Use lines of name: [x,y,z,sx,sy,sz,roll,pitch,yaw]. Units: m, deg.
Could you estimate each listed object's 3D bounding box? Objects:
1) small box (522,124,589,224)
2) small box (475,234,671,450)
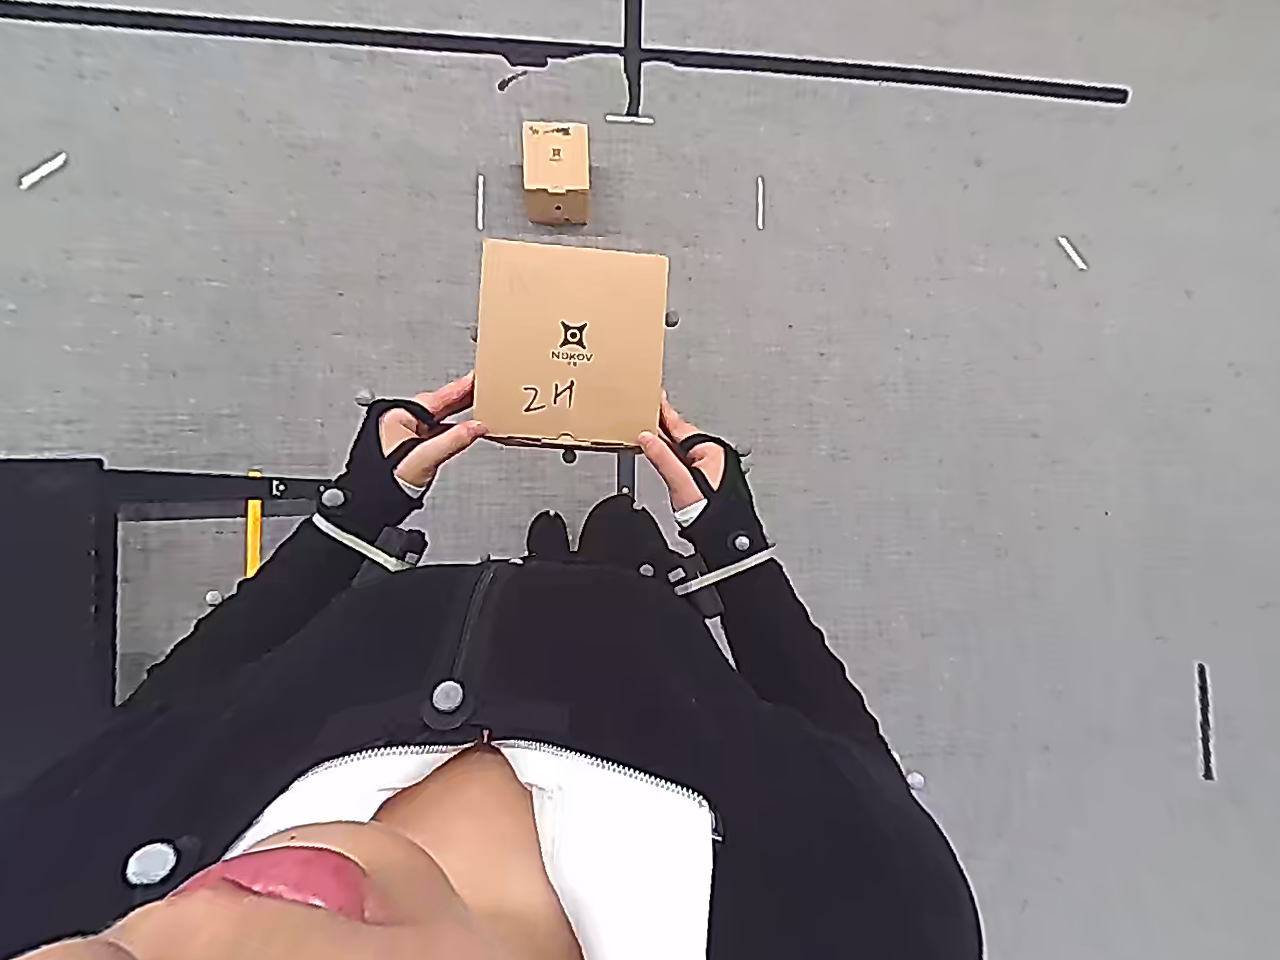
small box: [-0.220,-0.805,1.440,0.168,0.176,0.179,-1,89,-6]
small box: [-0.066,-0.126,0.561,0.168,0.176,0.179,4,91,-4]
